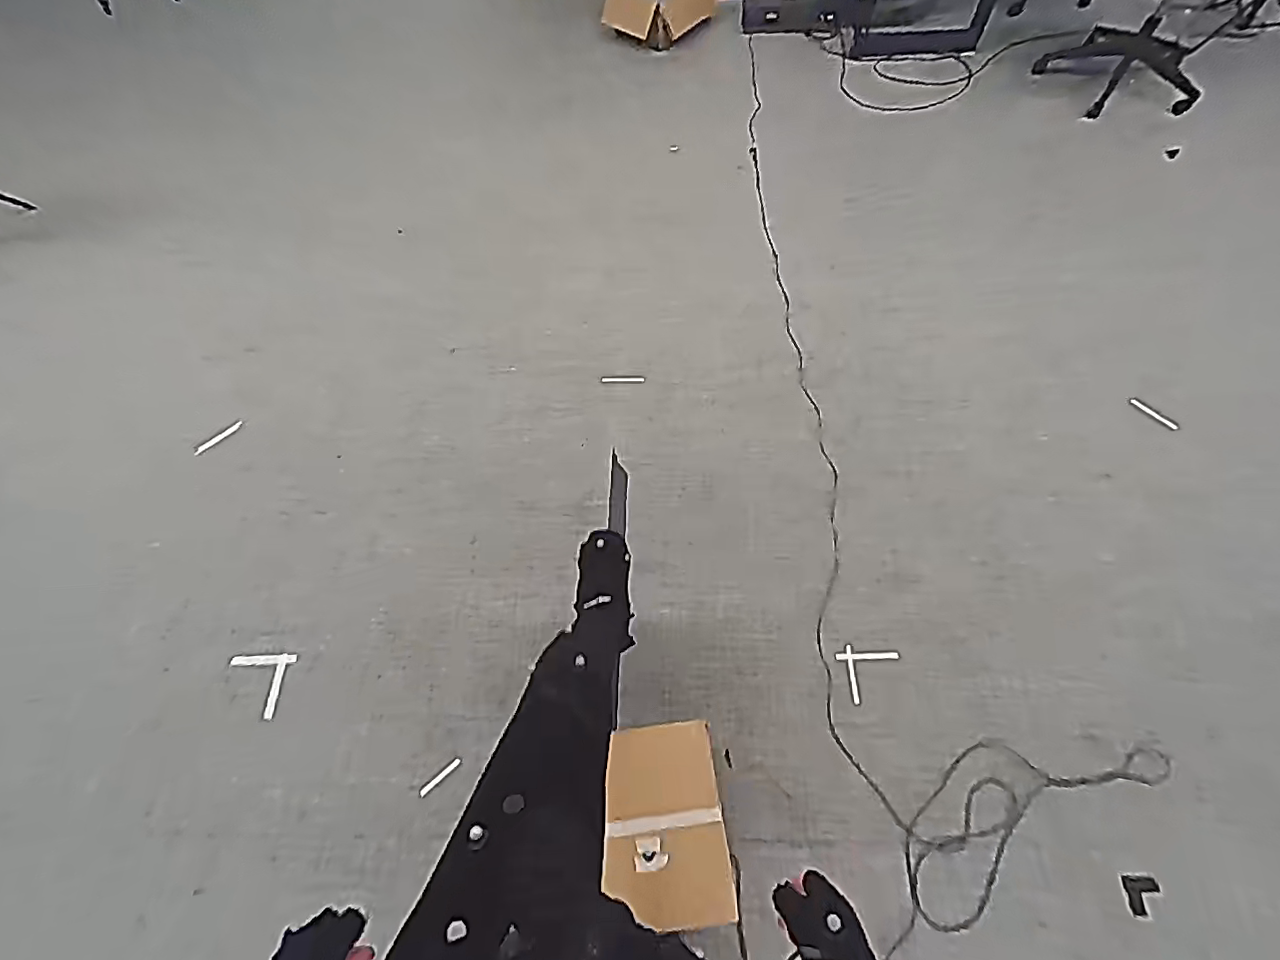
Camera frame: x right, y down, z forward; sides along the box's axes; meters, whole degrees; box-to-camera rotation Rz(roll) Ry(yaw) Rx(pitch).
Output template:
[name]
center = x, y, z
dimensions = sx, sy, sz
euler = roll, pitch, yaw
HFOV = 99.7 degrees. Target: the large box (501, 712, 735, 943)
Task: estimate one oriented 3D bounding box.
[large box]
center = -0.048, 0.682, 1.103
dimensions = 0.408, 0.320, 0.320
euler = -7, 62, -1
